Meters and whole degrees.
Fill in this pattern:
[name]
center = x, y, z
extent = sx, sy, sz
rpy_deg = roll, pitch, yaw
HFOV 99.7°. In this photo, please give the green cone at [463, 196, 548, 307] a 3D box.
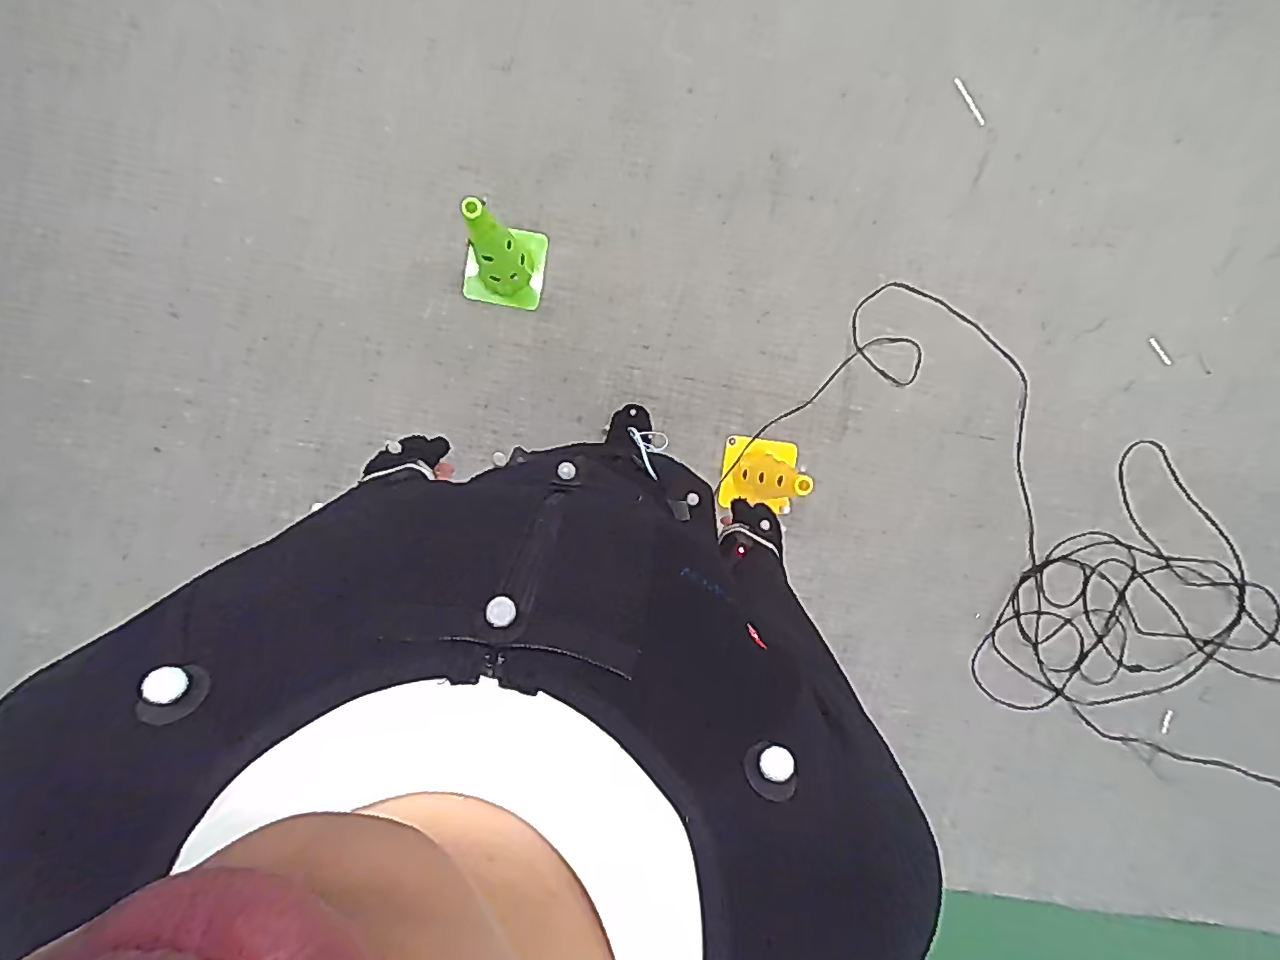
[green cone]
center = -0.339, -0.554, 1.245
extent = 0.202, 0.368, 0.200
rpy_deg = 9, 94, -5
